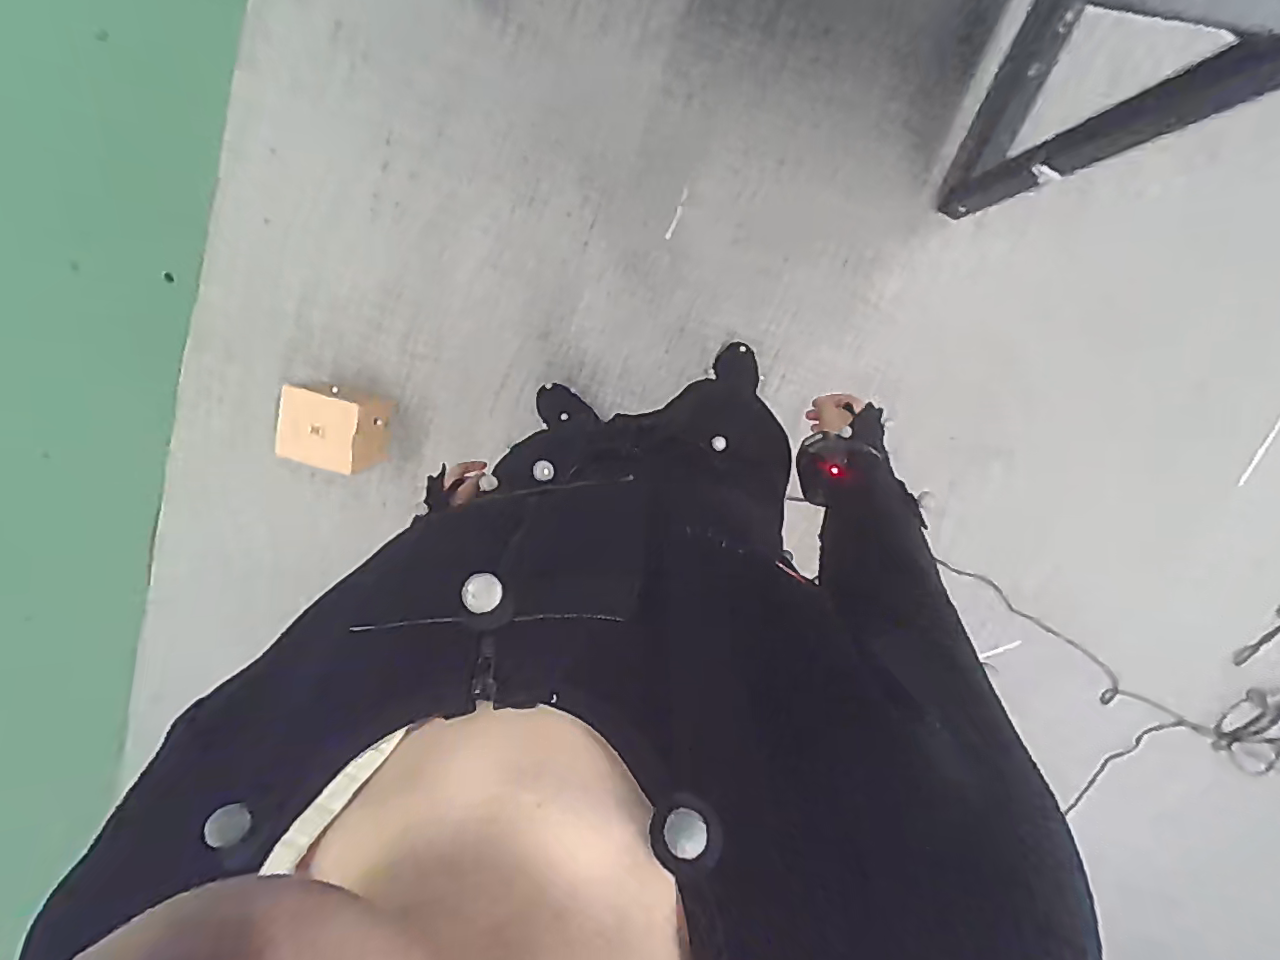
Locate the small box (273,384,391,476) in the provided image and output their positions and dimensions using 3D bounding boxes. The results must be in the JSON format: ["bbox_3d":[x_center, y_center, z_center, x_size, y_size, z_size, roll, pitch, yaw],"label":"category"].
[{"bbox_3d":[-0.710,-0.125,1.264,0.179,0.176,0.168,15,103,-2],"label":"small box"}]
